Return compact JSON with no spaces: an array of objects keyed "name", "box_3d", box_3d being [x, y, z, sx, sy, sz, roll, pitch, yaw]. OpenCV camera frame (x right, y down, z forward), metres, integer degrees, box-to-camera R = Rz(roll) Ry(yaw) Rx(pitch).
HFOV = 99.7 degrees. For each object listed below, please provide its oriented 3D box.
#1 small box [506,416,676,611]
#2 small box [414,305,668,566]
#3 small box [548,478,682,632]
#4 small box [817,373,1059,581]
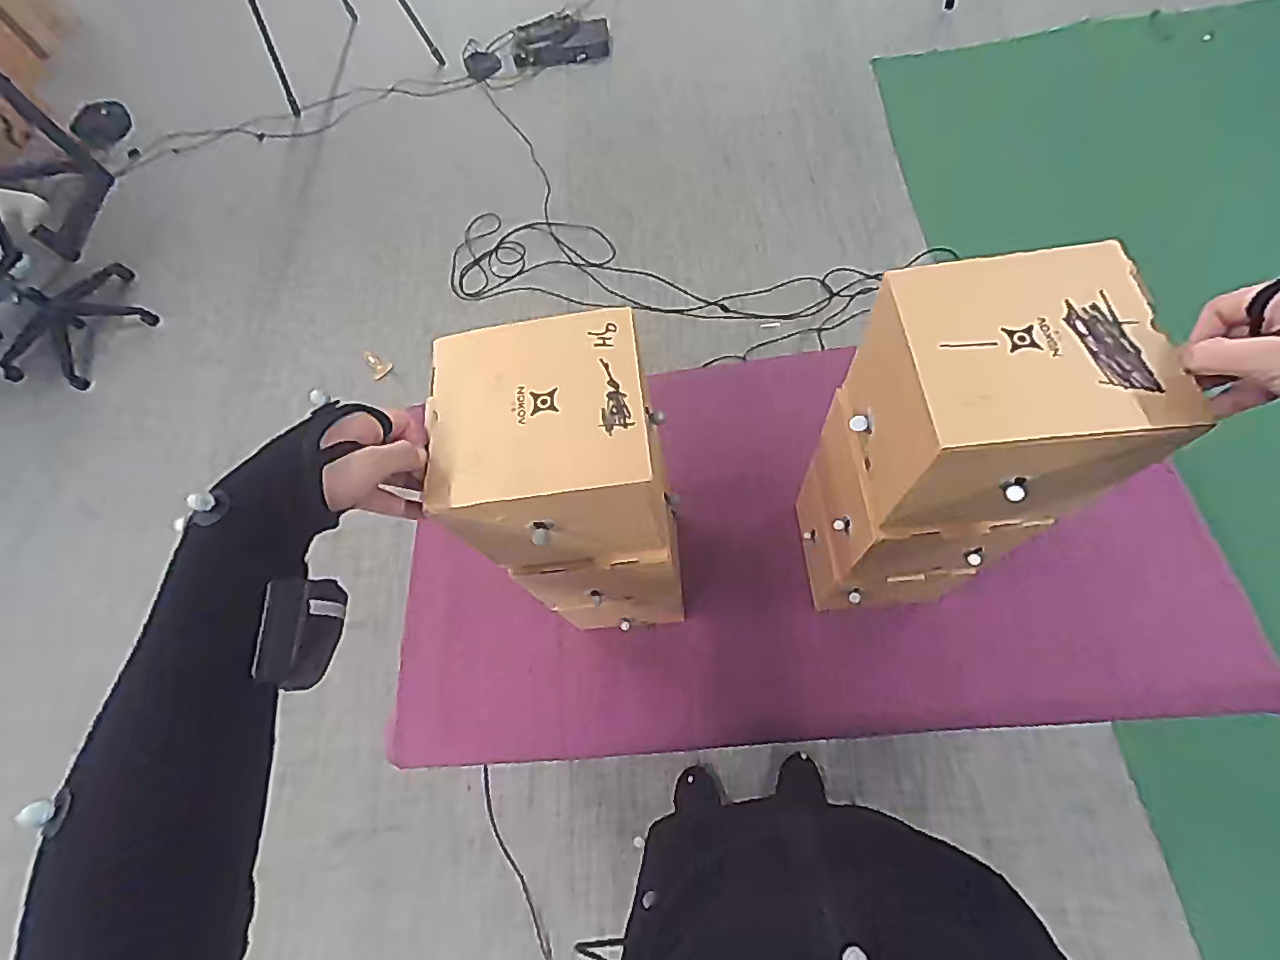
[{"name":"small box","box_3d":[-0.049,0.045,0.637,0.168,0.176,0.179,-7,66,4]},{"name":"small box","box_3d":[-0.075,-0.027,0.491,0.179,0.176,0.168,-8,65,5]},{"name":"small box","box_3d":[-0.029,0.114,0.782,0.168,0.176,0.179,-6,65,6]},{"name":"small box","box_3d":[0.306,0.009,0.603,0.168,0.176,0.179,-6,64,5]}]
